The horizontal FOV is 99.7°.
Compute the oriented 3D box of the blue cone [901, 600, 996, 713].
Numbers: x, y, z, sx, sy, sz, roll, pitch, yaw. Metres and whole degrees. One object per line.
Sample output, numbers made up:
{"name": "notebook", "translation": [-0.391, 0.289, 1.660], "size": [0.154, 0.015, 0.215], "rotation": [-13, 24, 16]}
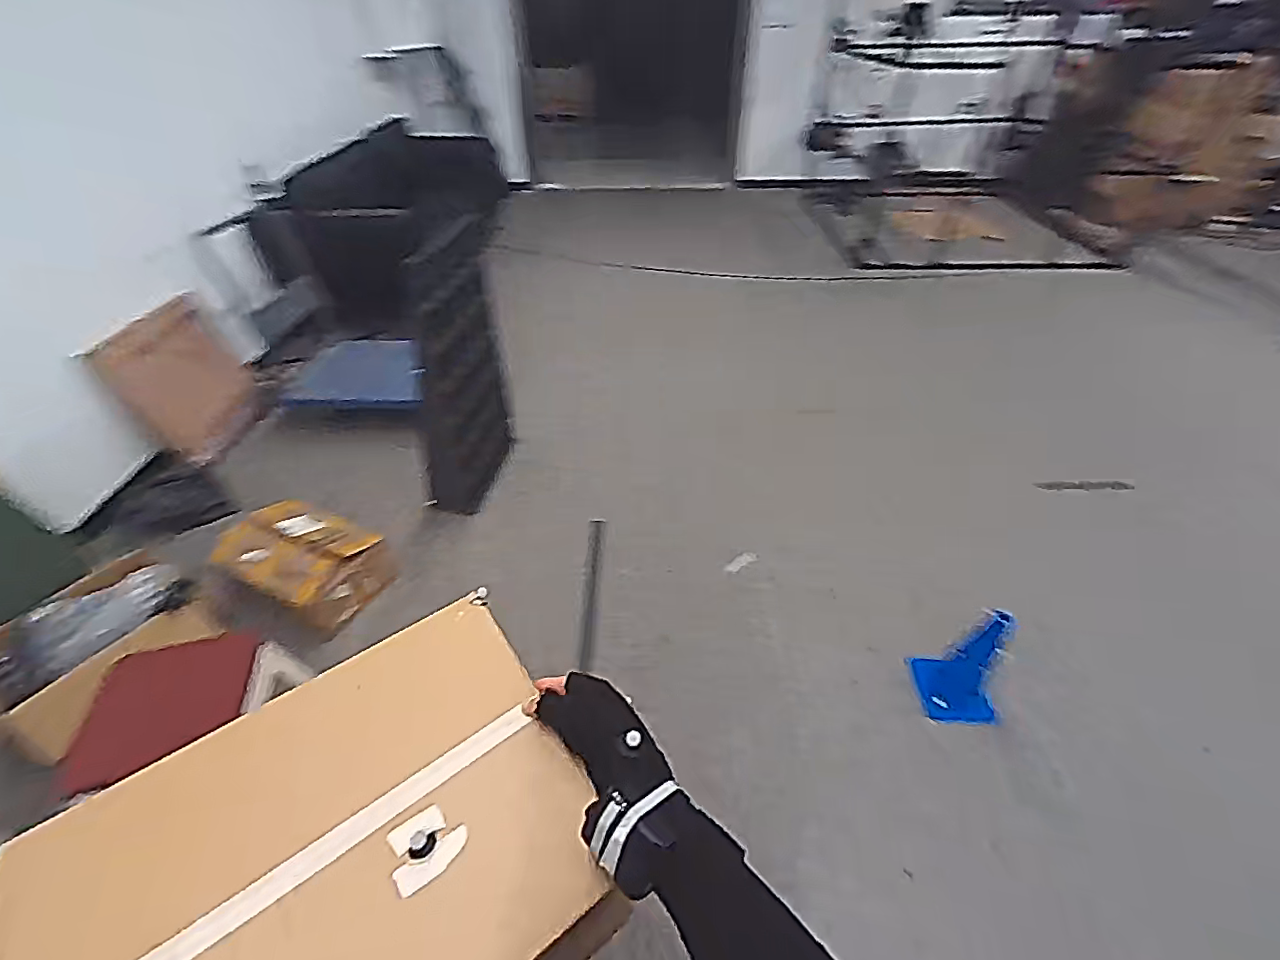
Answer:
{"name": "blue cone", "translation": [0.893, 0.471, 1.495], "size": [0.193, 0.380, 0.192], "rotation": [2, 40, 3]}

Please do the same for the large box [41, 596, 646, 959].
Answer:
{"name": "large box", "translation": [-0.245, 0.403, 0.546], "size": [0.408, 0.320, 0.320], "rotation": [-25, 51, -26]}
